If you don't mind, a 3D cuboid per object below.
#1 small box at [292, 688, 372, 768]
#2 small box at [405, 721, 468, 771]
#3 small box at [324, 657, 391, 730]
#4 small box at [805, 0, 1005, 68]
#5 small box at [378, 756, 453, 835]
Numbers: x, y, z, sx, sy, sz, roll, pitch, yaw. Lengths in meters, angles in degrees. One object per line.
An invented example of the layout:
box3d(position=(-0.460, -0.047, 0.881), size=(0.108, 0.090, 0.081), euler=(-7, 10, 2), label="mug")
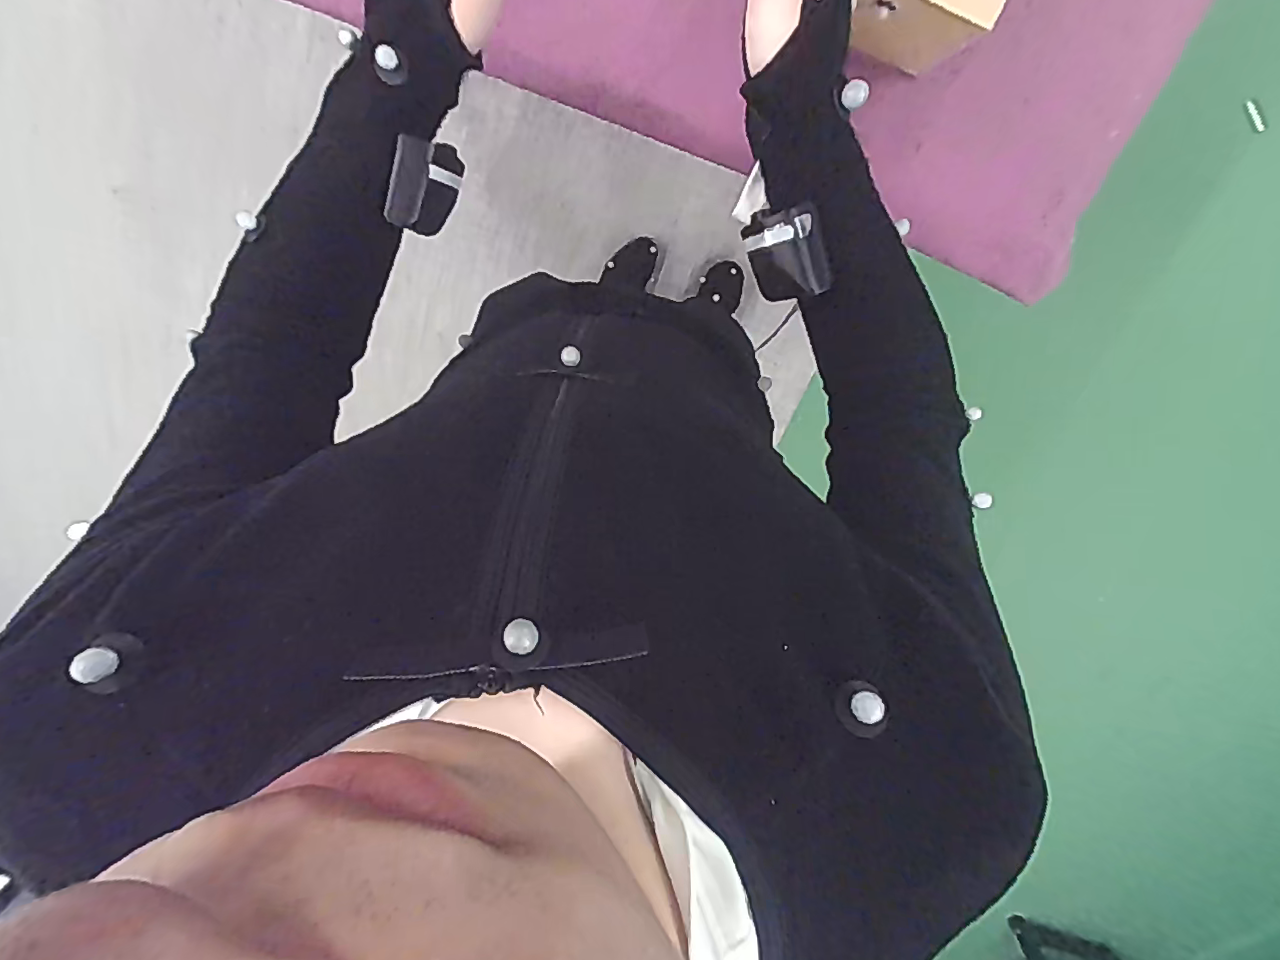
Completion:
box3d(position=(-1.062, 0.853, 1.874), size=(0.179, 0.176, 0.168), euler=(19, 113, -8), label="small box")
box3d(position=(-0.815, 1.093, 2.145), size=(0.179, 0.176, 0.168), euler=(27, 113, -9), label="small box")
box3d(position=(-1.060, 0.793, 2.024), size=(0.179, 0.176, 0.168), euler=(20, 113, -7), label="small box")
box3d(position=(0.299, -0.577, 0.570), size=(0.179, 0.176, 0.168), euler=(20, 114, -7), label="small box")
box3d(position=(-0.822, 1.154, 1.991), size=(0.179, 0.176, 0.168), euler=(26, 113, -9), label="small box")
